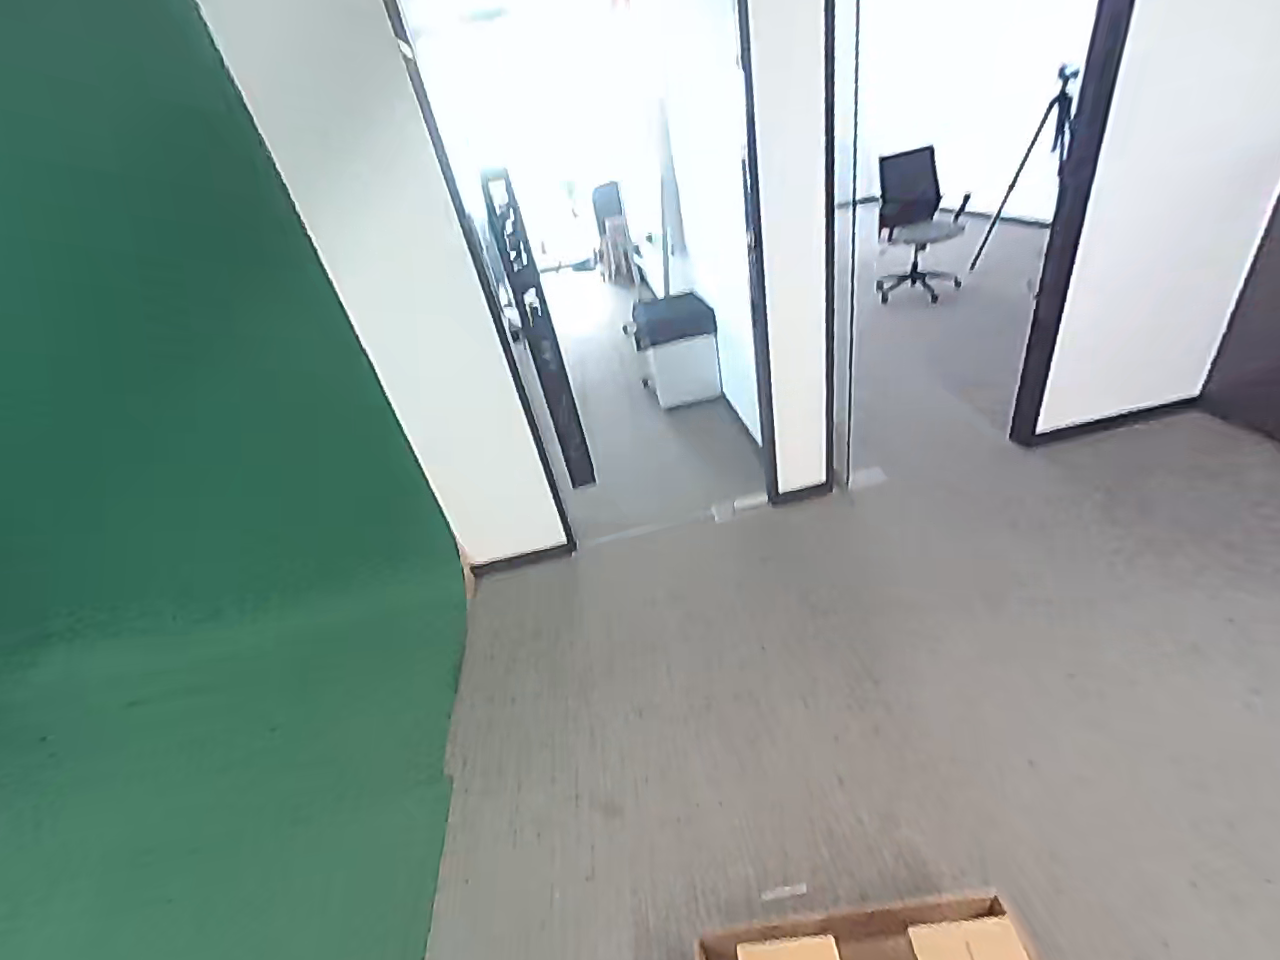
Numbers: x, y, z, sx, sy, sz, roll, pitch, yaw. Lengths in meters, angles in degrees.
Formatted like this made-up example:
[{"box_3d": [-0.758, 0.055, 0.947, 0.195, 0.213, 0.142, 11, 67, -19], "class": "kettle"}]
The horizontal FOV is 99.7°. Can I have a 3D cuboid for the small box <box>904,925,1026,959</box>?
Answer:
[{"box_3d": [0.532, 0.842, 0.846, 0.168, 0.176, 0.179, -10, 30, 5], "class": "small box"}]

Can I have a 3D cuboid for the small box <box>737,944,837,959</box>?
[{"box_3d": [0.254, 0.892, 0.866, 0.168, 0.176, 0.179, -9, 31, 3], "class": "small box"}]
